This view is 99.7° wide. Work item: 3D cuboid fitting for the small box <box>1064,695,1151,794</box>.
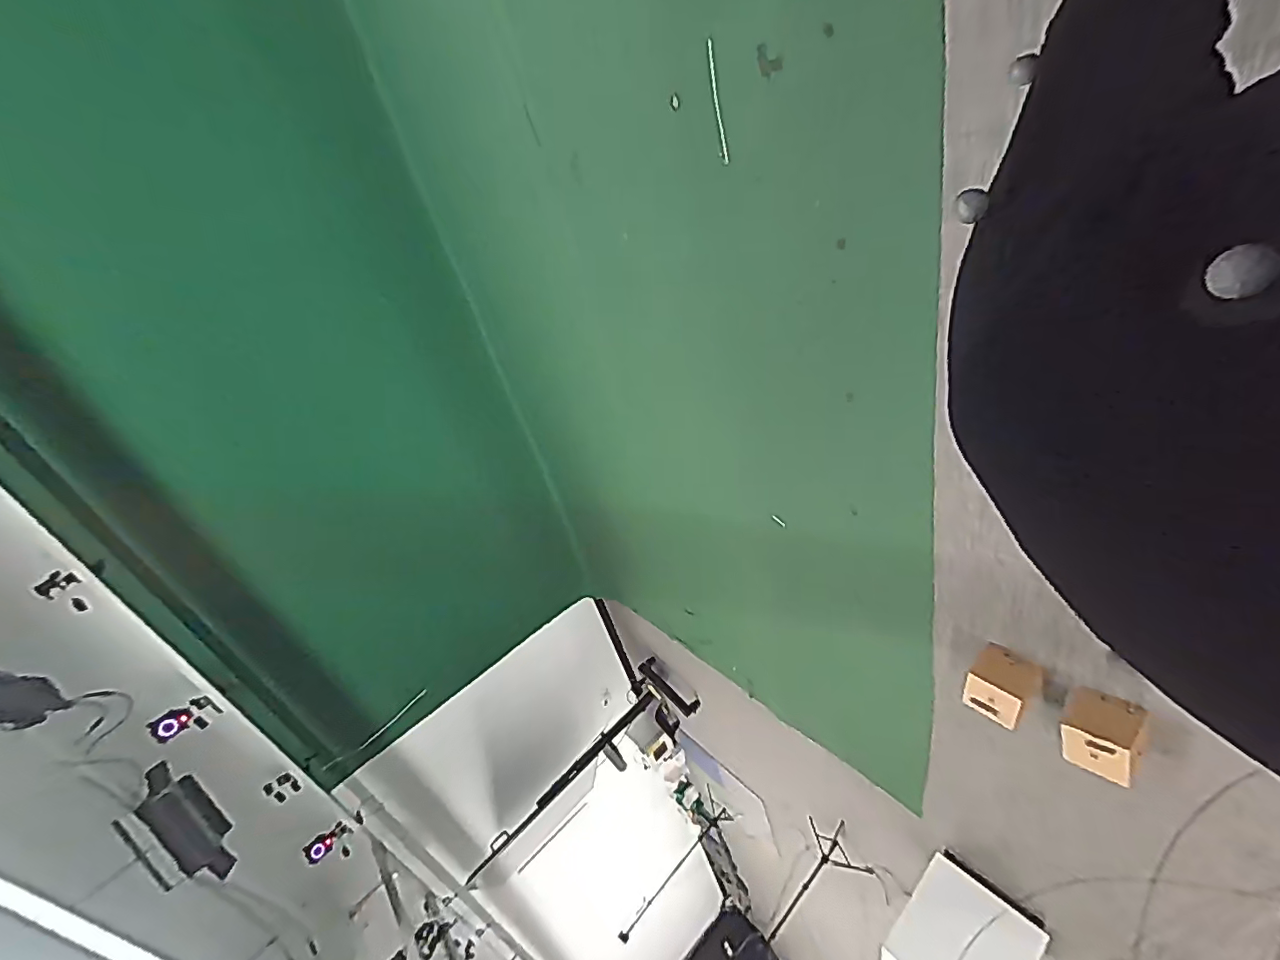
[{"bbox_3d":[1.427,0.798,1.652,0.168,0.176,0.179,14,132,54],"label":"small box"}]
